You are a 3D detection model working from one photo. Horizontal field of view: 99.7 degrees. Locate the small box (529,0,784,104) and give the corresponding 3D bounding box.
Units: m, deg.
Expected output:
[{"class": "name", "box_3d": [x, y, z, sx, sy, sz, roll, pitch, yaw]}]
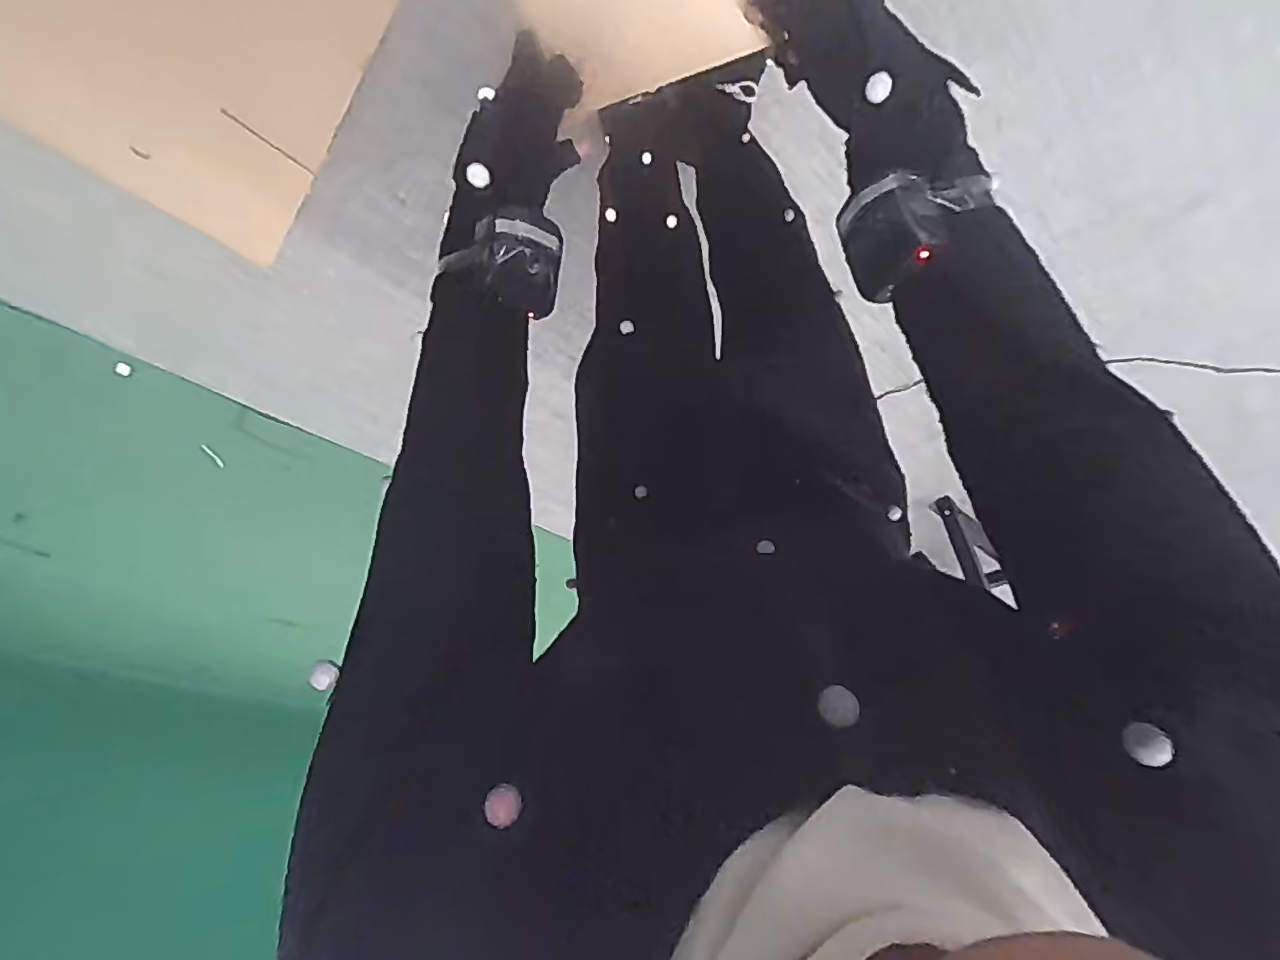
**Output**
[{"class": "small box", "box_3d": [0.002, -0.428, 0.416, 0.179, 0.176, 0.168, -13, 133, 16]}]
